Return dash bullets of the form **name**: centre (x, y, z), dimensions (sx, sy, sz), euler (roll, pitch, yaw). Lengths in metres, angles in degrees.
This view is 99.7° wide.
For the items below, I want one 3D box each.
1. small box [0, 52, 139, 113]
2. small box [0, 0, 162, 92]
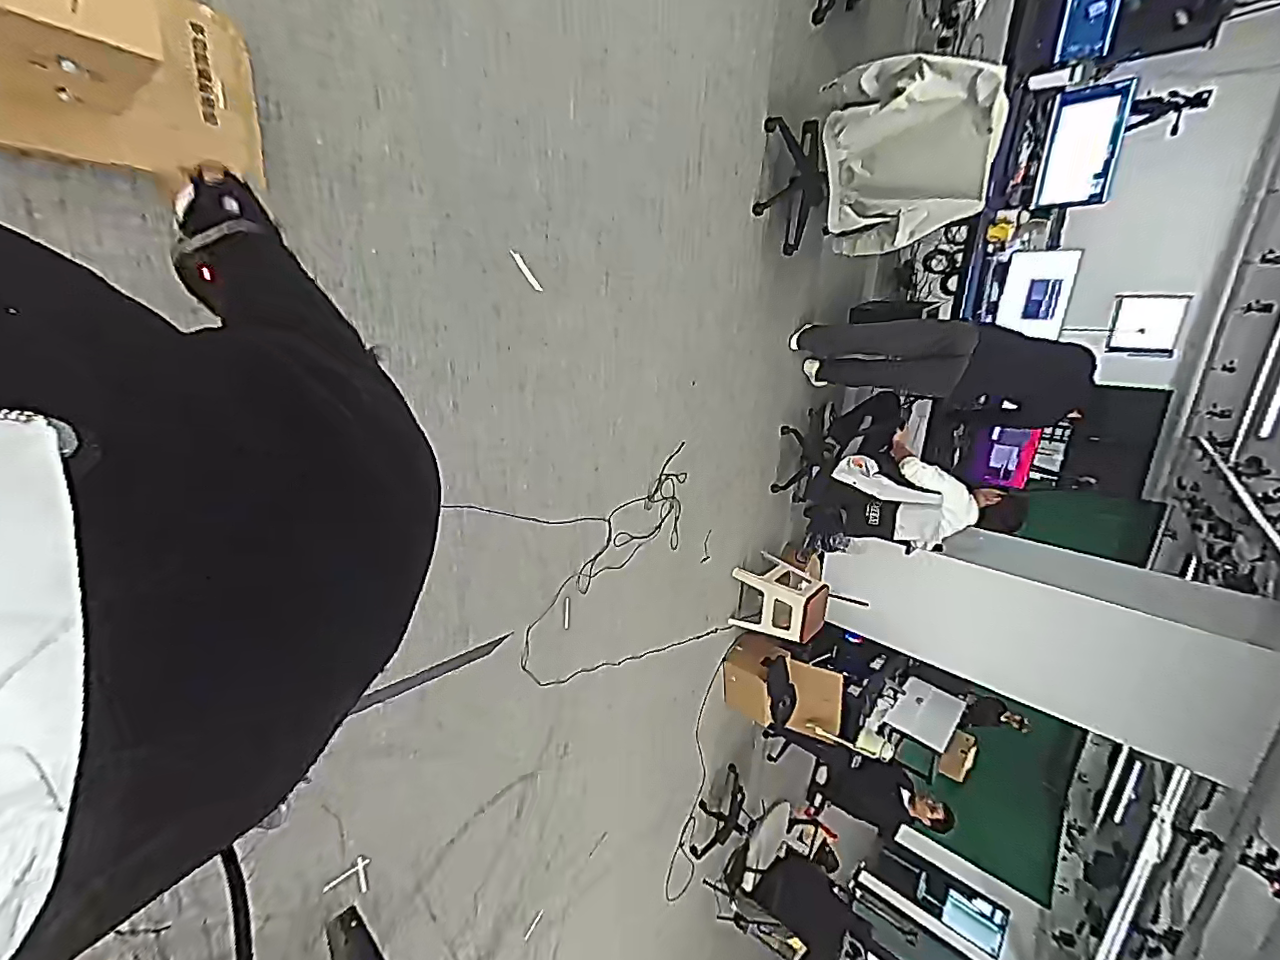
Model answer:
- **small box**: centre (-0.895, -0.693, 0.816), dimensions (0.168, 0.176, 0.179), euler (-15, 114, -46)
- **small box**: centre (-0.767, -0.661, 0.718), dimensions (0.168, 0.176, 0.179), euler (-11, 111, -47)
